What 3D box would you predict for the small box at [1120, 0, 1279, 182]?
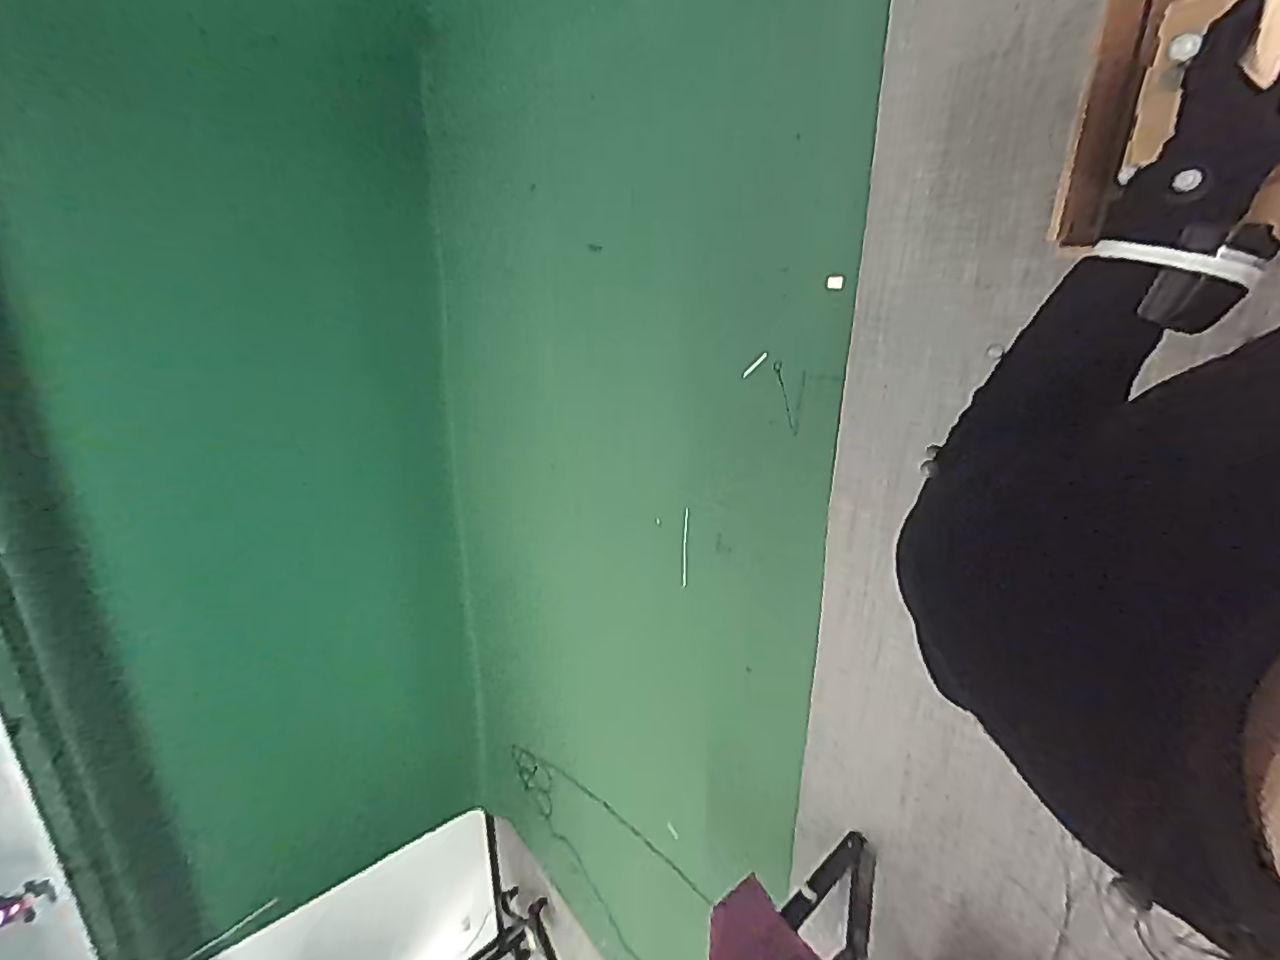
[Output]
[{"bbox_3d":[0.689,-0.441,0.601,0.179,0.176,0.168,24,119,46],"label":"small box"}]
